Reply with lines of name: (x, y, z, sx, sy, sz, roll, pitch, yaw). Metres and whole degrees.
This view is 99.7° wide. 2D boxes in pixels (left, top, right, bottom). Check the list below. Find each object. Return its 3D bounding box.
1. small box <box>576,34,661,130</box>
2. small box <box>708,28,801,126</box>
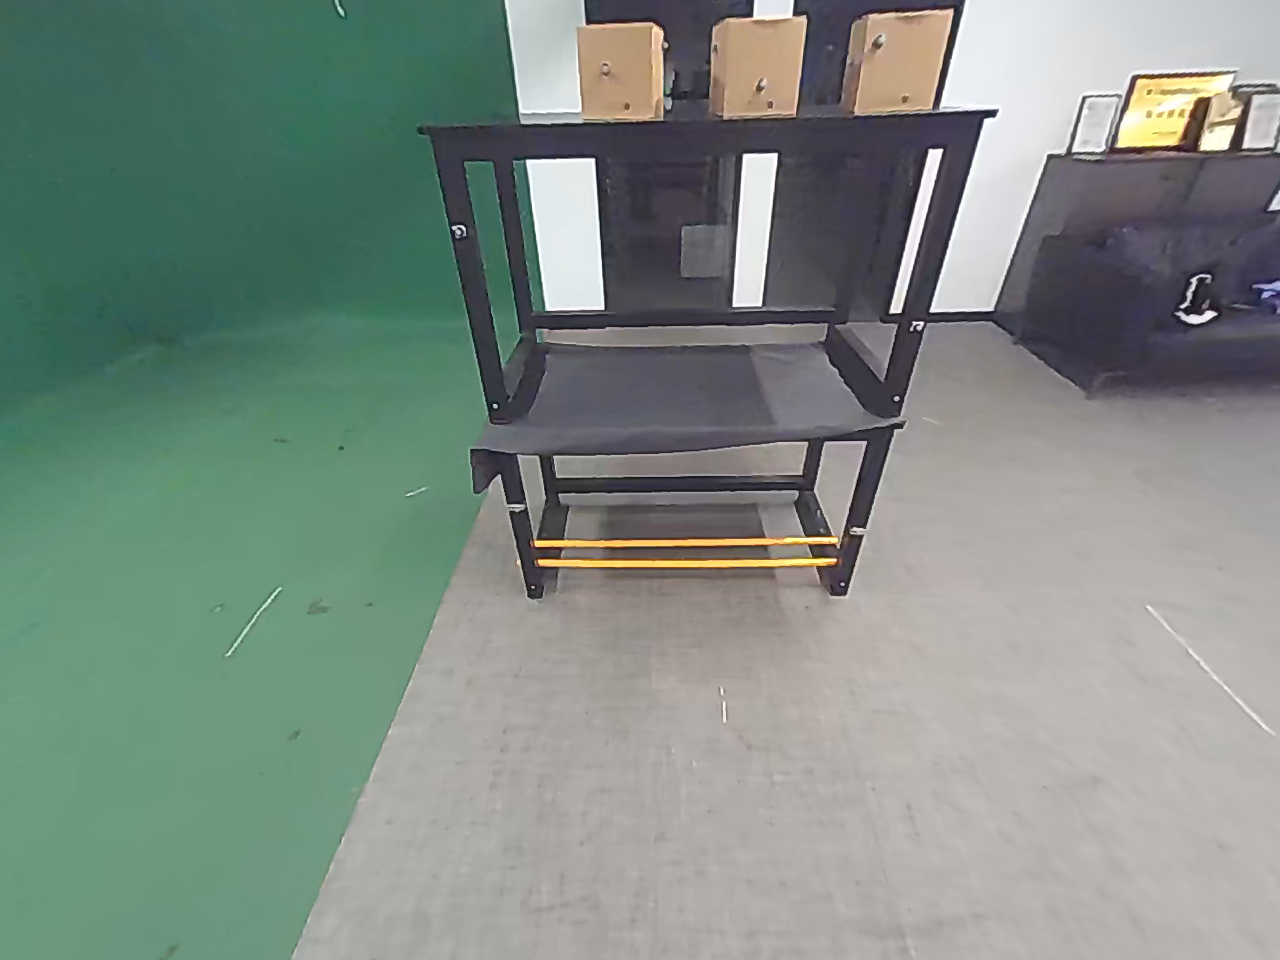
small box: (-0.042, -0.916, 1.255, 0.168, 0.176, 0.179, 4, 35, 8)
small box: (0.251, -0.912, 1.233, 0.168, 0.176, 0.179, -4, 35, -2)
